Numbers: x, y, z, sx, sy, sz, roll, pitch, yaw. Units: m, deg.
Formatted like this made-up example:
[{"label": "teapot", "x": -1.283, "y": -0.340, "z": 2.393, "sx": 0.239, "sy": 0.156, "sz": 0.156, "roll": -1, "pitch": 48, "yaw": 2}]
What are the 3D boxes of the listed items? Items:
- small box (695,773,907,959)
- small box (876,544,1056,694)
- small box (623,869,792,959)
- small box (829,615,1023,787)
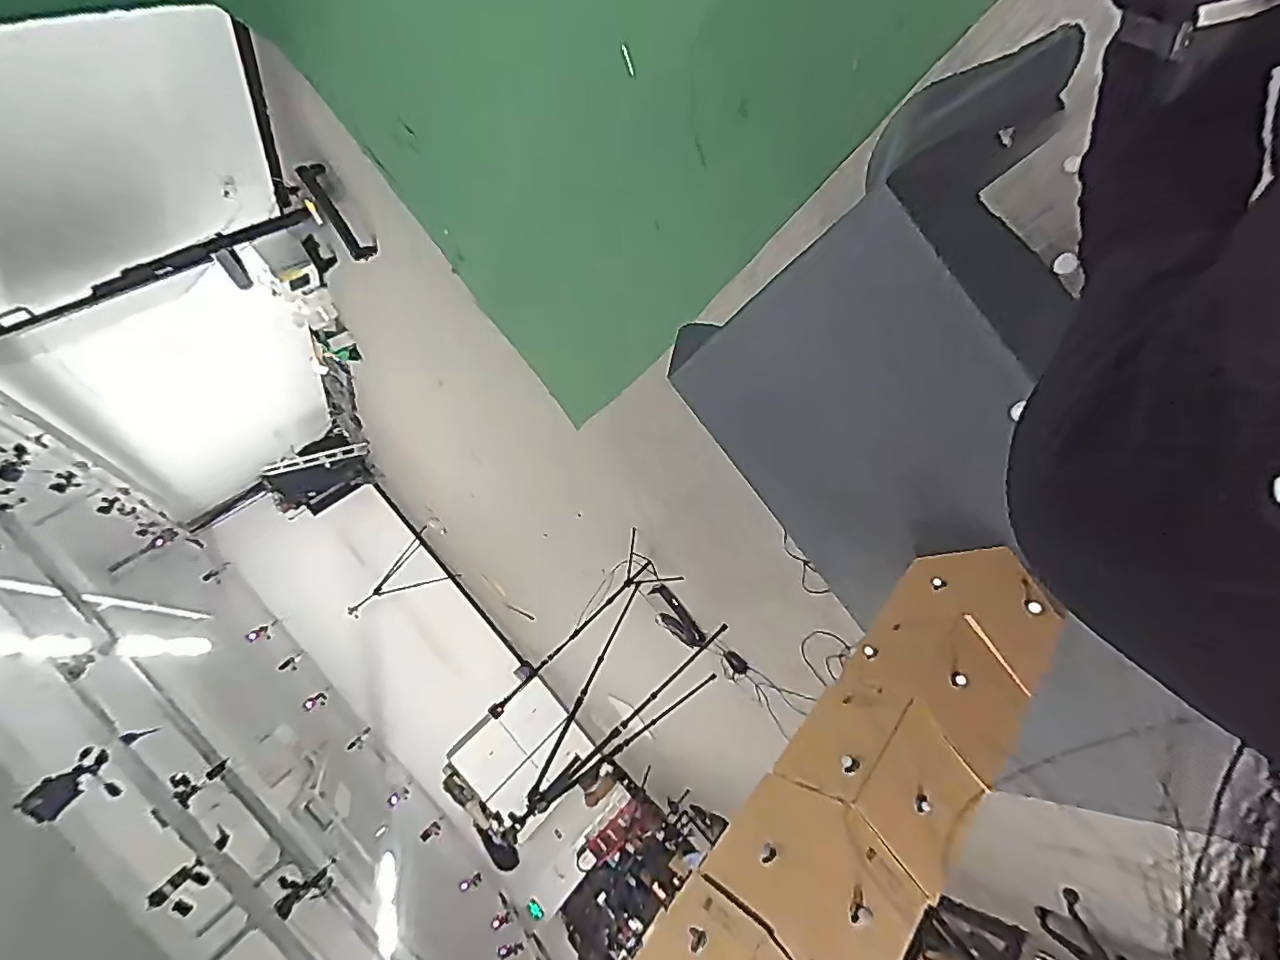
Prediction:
[{"label": "small box", "x": 0.209, "y": 0.513, "z": 0.694, "sx": 0.168, "sy": 0.176, "sz": 0.179, "roll": 51, "pitch": 152, "yaw": -3}, {"label": "small box", "x": 0.545, "y": 0.228, "z": 0.908, "sx": 0.168, "sy": 0.176, "sz": 0.179, "roll": 52, "pitch": 150, "yaw": -4}, {"label": "small box", "x": 0.096, "y": 0.604, "z": 0.613, "sx": 0.179, "sy": 0.176, "sz": 0.168, "roll": 52, "pitch": 152, "yaw": -4}, {"label": "small box", "x": 0.437, "y": 0.323, "z": 0.832, "sx": 0.179, "sy": 0.176, "sz": 0.168, "roll": 51, "pitch": 152, "yaw": -2}]
